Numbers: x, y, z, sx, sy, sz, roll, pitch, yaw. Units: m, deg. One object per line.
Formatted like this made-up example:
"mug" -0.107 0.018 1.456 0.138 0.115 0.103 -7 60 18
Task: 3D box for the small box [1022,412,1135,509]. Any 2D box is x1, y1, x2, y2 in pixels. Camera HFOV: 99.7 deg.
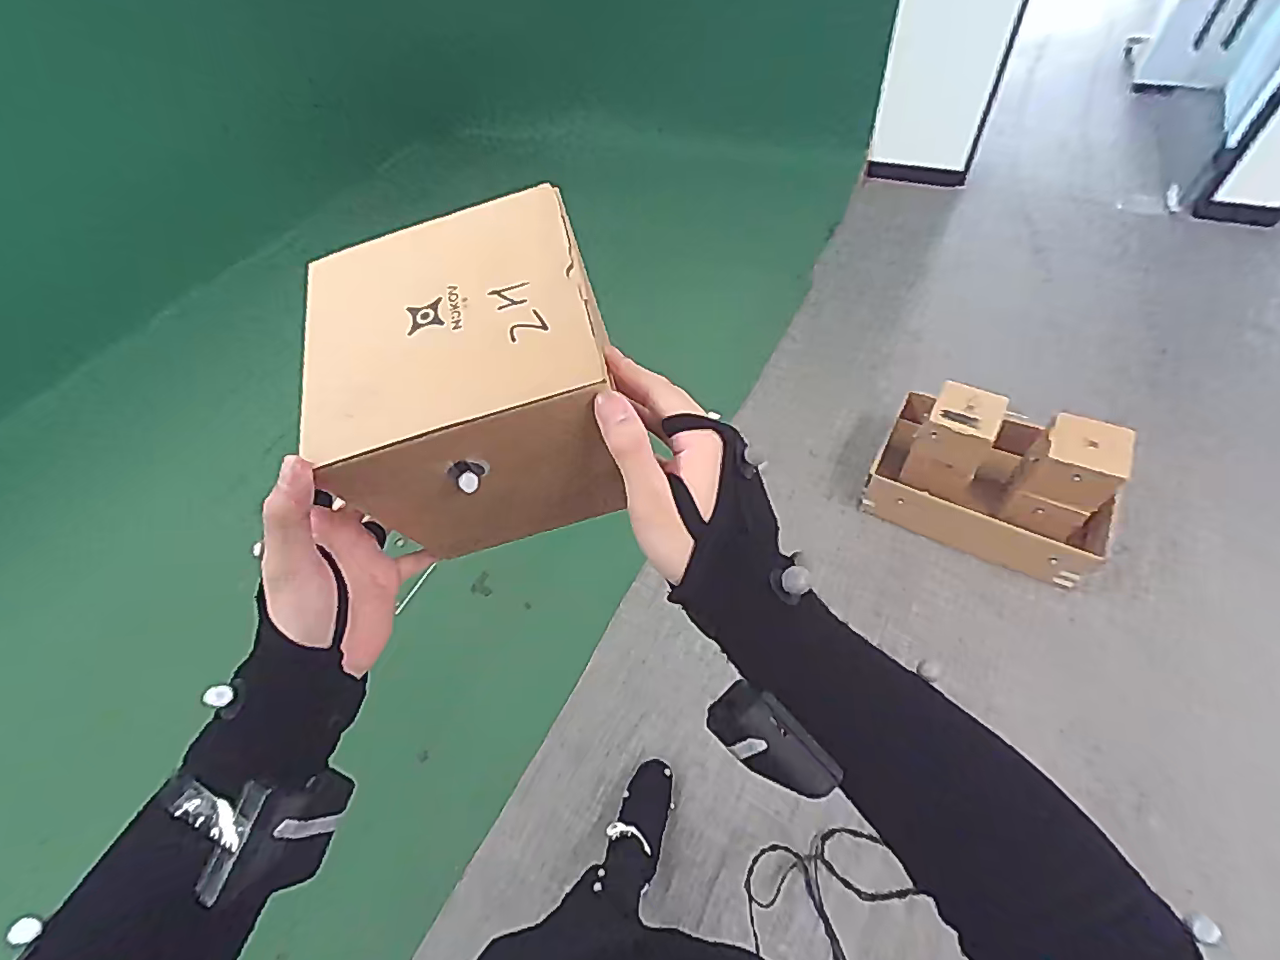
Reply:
"small box" 1.150 -0.047 1.429 0.179 0.176 0.168 22 63 22

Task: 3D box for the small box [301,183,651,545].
"small box" -0.102 -0.067 0.392 0.179 0.176 0.168 -16 64 3
